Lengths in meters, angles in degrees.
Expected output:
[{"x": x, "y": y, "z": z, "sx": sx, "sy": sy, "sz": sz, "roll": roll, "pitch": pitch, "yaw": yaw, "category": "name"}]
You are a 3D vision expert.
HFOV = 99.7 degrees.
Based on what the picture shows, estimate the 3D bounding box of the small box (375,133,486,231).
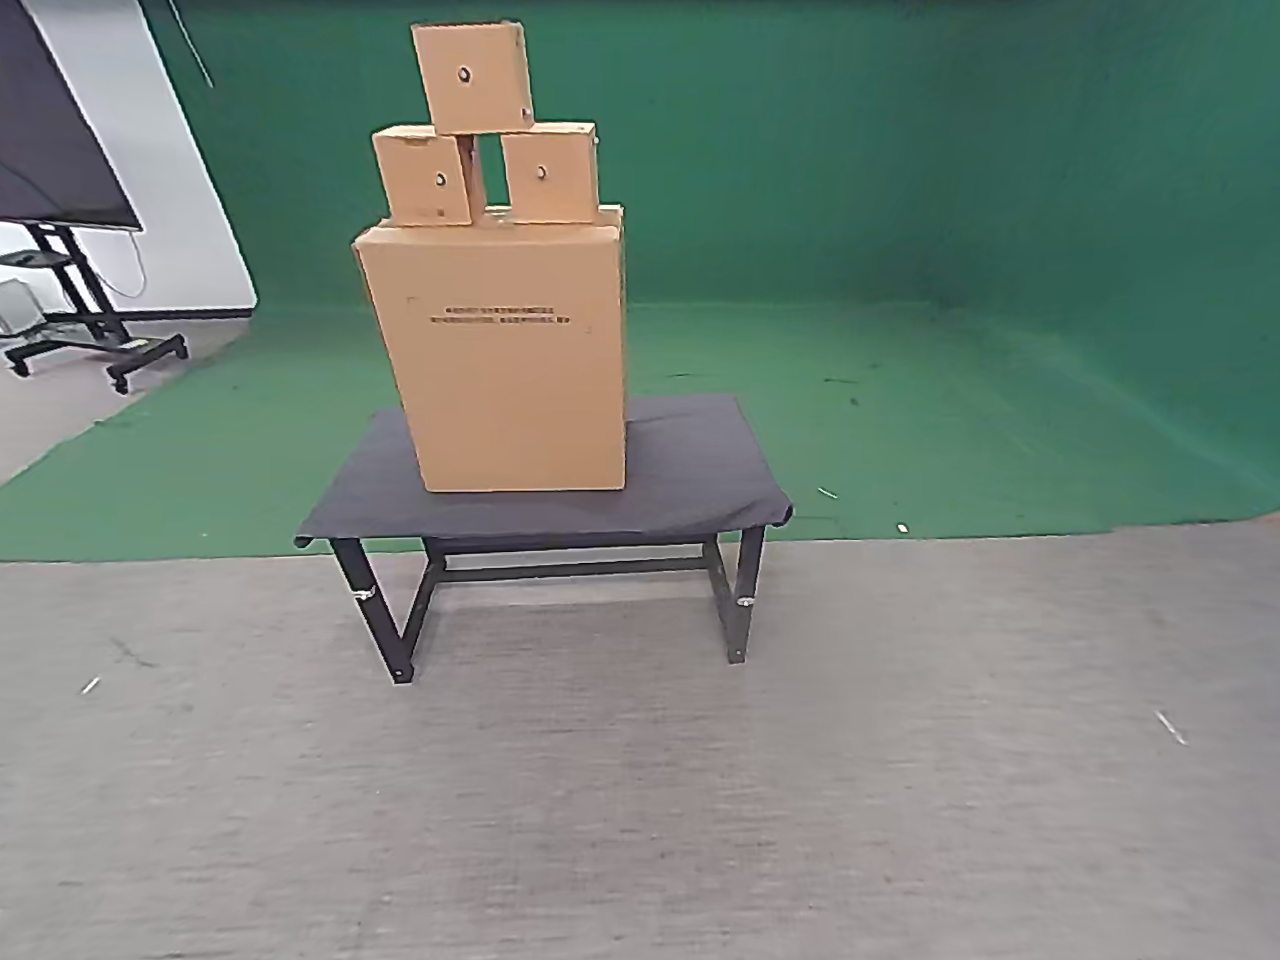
[{"x": -0.443, "y": -0.649, "z": 1.176, "sx": 0.168, "sy": 0.176, "sz": 0.179, "roll": 0, "pitch": 37, "yaw": -2, "category": "small box"}]

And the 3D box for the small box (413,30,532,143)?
[{"x": -0.319, "y": -0.782, "z": 1.075, "sx": 0.179, "sy": 0.176, "sz": 0.168, "roll": -3, "pitch": 38, "yaw": 0, "category": "small box"}]

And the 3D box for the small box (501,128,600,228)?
[{"x": -0.186, "y": -0.656, "z": 1.177, "sx": 0.179, "sy": 0.176, "sz": 0.168, "roll": -1, "pitch": 39, "yaw": 1, "category": "small box"}]
